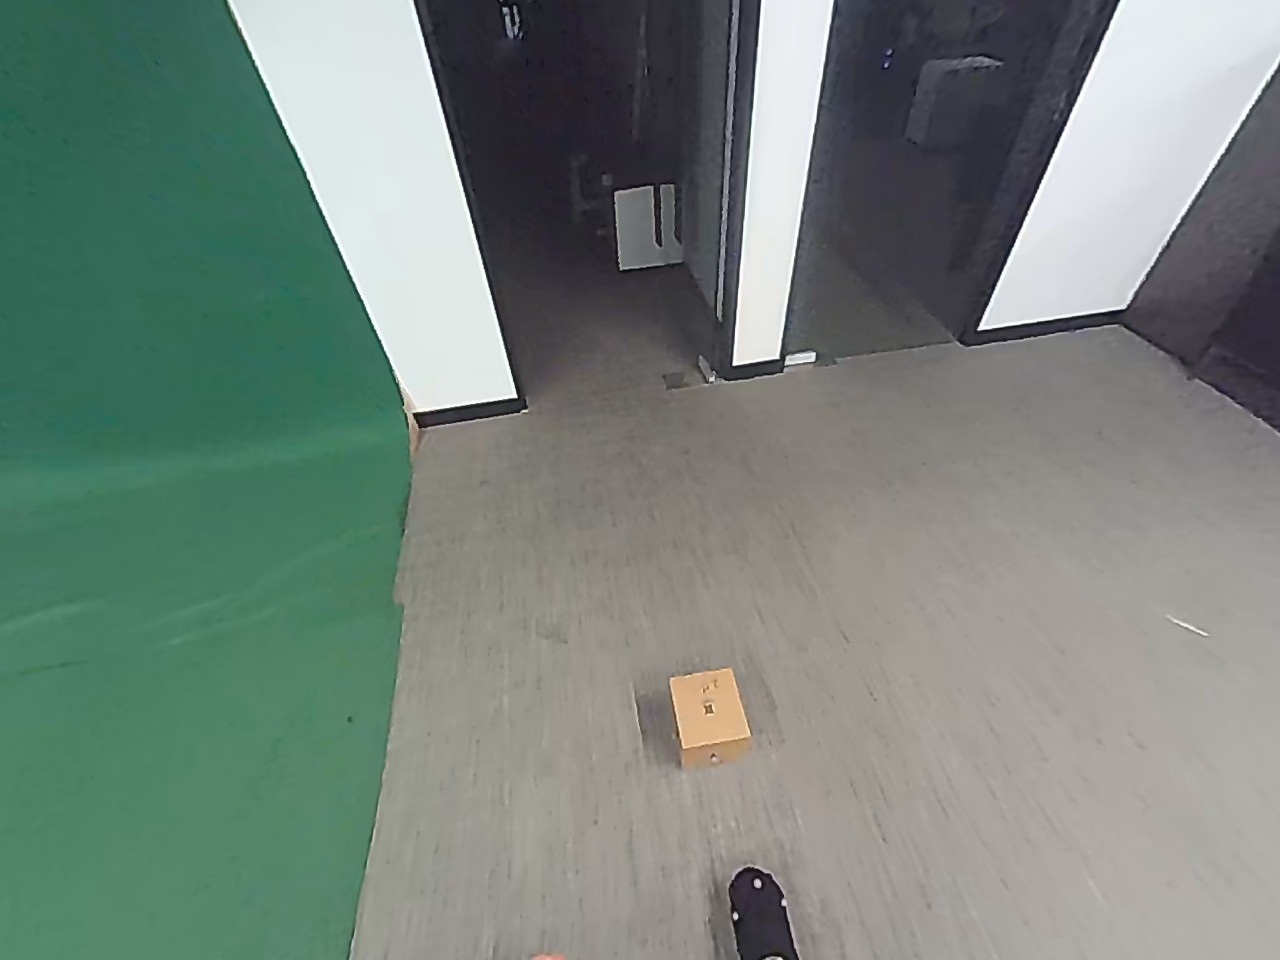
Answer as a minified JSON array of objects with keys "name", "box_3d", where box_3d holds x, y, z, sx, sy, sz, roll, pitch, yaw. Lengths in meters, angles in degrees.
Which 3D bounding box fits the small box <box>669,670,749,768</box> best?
[{"name":"small box","box_3d":[0.171,0.611,1.370,0.168,0.176,0.179,-8,46,-4]}]
